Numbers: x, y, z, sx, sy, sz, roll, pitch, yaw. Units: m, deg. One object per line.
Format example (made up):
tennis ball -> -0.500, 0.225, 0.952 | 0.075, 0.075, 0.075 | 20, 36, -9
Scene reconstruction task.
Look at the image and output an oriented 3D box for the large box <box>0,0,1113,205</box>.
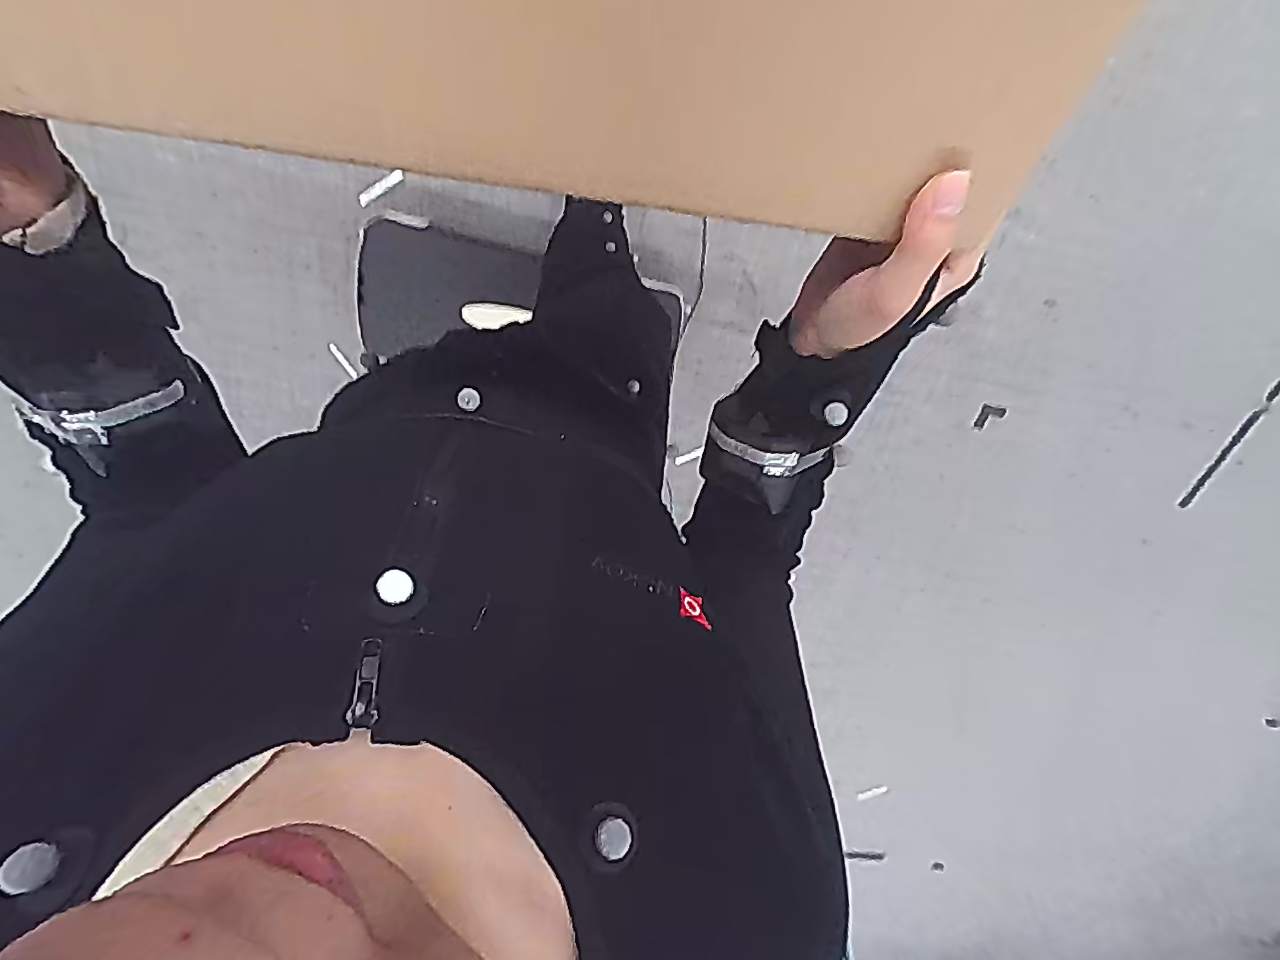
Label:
large box -> -0.035, -0.337, 0.183 | 0.408, 0.320, 0.320 | 3, 141, -10
